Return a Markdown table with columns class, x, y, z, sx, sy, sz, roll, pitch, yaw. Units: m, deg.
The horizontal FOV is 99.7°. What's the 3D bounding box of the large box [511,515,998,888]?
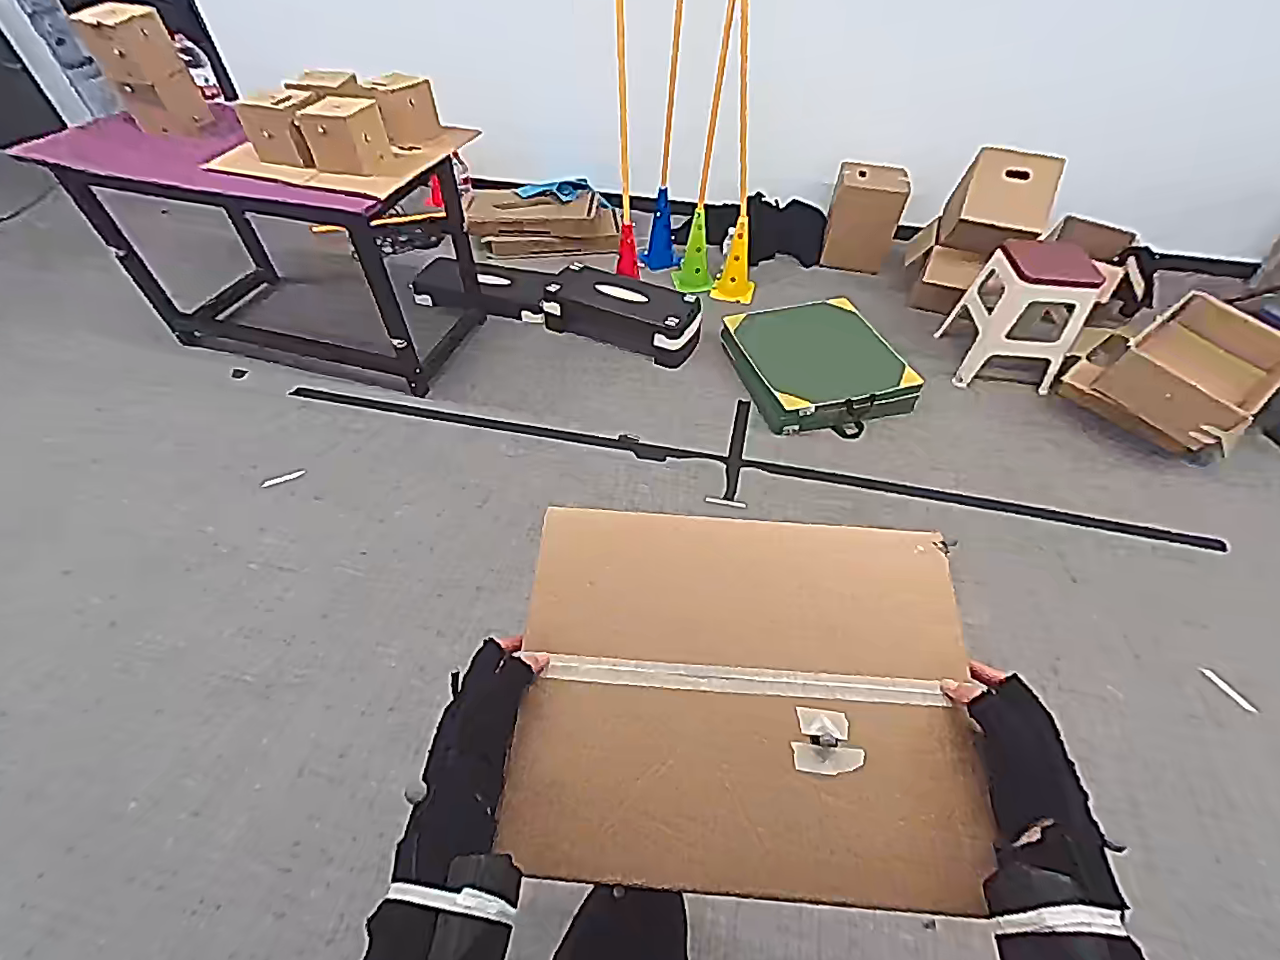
| class | x | y | z | sx | sy | sz | roll | pitch | yaw |
| --- | --- | --- | --- | --- | --- | --- | --- | --- | --- |
| large box | 0.096 | 0.252 | 0.635 | 0.408 | 0.320 | 0.320 | 3 | 63 | 1 |
